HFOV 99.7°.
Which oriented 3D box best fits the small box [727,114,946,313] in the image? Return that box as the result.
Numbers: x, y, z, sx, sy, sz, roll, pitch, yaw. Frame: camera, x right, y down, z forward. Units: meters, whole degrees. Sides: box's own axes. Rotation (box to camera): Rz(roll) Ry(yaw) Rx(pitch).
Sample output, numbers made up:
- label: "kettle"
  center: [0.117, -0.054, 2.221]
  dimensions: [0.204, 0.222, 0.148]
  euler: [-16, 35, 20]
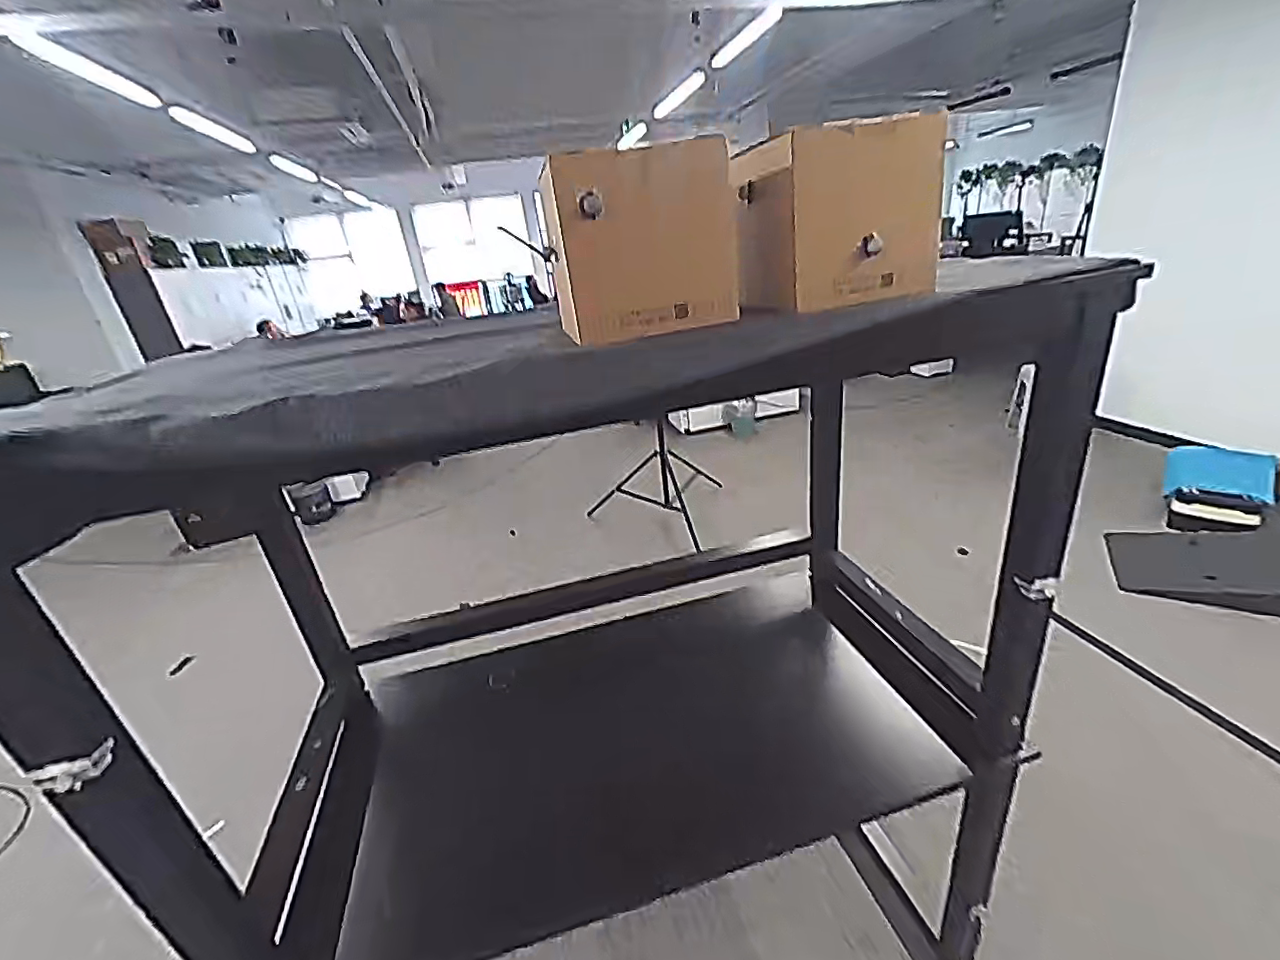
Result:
- label: "small box"
  center: [0.208, -0.289, 0.613]
  dimensions: [0.168, 0.176, 0.179]
  euler: [-13, 24, -9]
